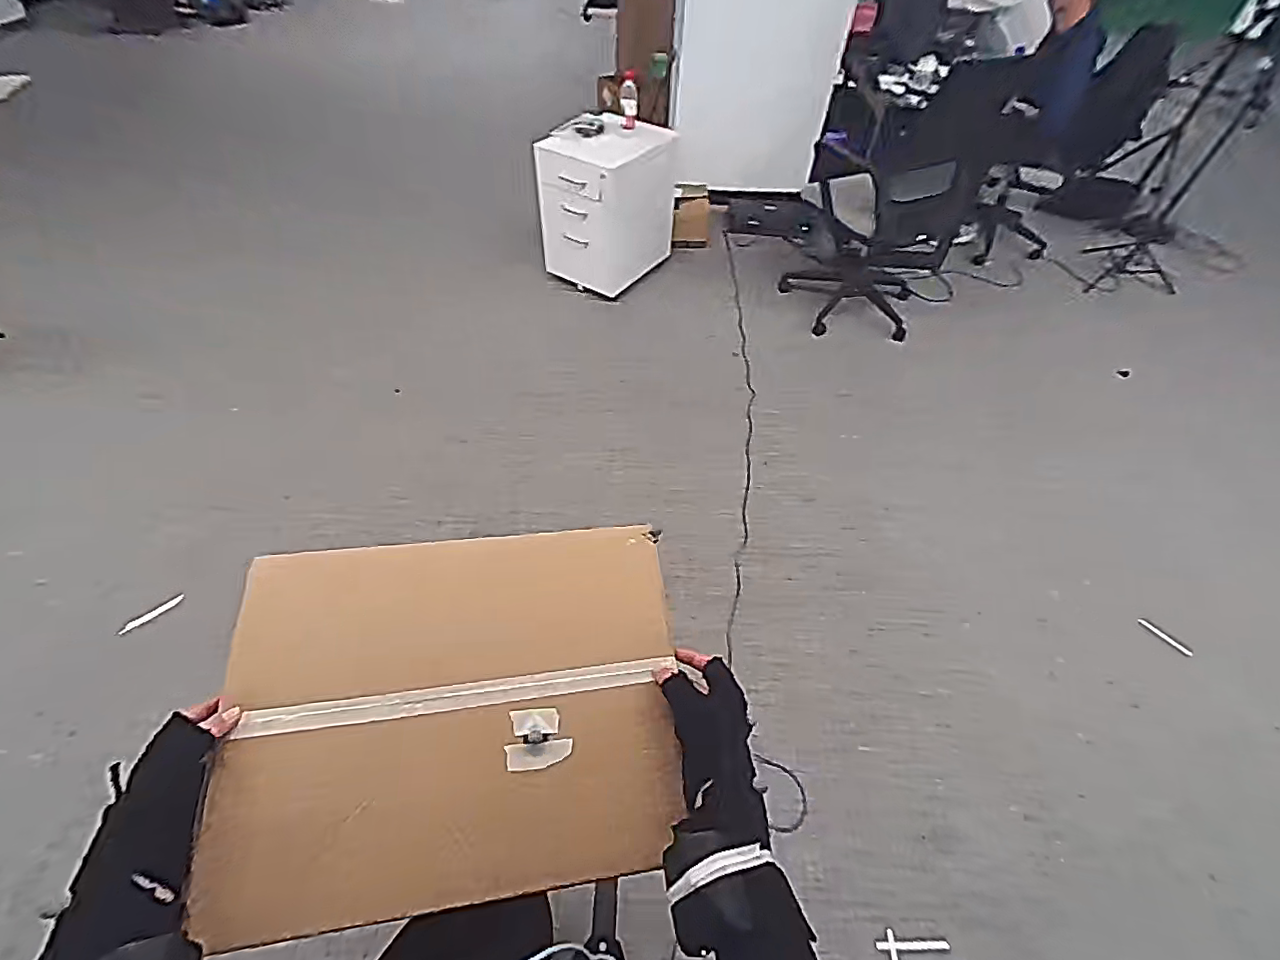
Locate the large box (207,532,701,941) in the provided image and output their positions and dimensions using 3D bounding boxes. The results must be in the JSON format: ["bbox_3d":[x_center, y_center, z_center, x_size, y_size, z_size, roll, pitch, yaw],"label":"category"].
[{"bbox_3d":[-0.178,0.279,0.644,0.408,0.320,0.320,-3,62,-10],"label":"large box"}]
